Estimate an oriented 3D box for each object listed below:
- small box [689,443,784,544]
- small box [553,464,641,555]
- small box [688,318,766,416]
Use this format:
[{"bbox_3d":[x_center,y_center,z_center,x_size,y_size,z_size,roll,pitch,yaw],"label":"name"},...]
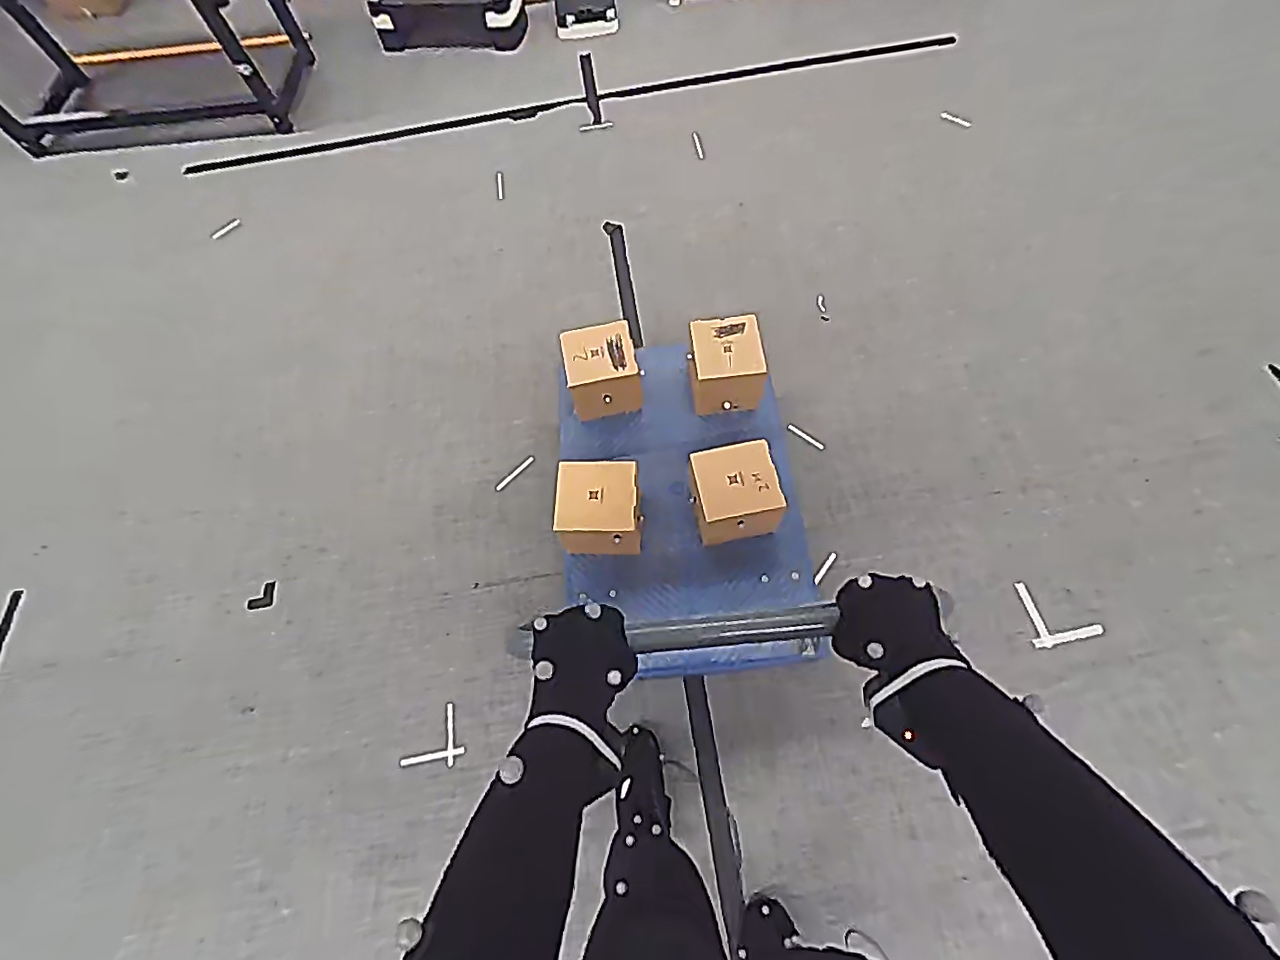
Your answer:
[{"bbox_3d":[0.213,0.037,1.241,0.179,0.176,0.168,-11,66,0],"label":"small box"},{"bbox_3d":[-0.092,0.073,1.249,0.179,0.176,0.168,0,66,3],"label":"small box"},{"bbox_3d":[0.215,-0.285,1.384,0.168,0.176,0.179,-6,67,2],"label":"small box"}]
